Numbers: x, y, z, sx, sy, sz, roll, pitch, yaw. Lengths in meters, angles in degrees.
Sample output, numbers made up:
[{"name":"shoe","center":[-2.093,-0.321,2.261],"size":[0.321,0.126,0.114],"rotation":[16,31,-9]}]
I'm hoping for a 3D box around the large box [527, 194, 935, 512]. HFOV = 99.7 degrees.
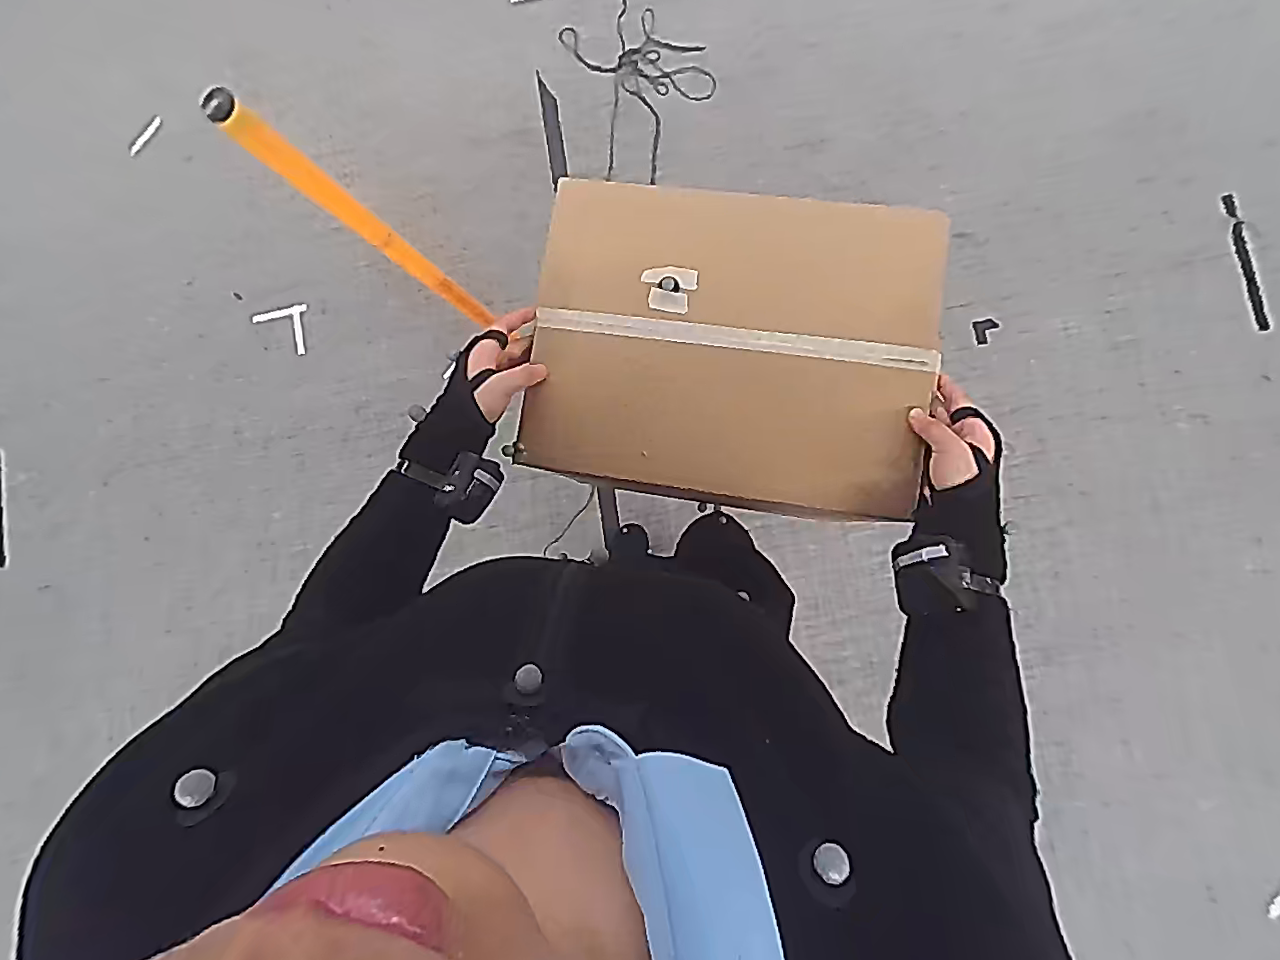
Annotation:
[{"name":"large box","center":[0.109,-0.133,0.712],"size":[0.408,0.320,0.320],"rotation":[7,84,7]}]
